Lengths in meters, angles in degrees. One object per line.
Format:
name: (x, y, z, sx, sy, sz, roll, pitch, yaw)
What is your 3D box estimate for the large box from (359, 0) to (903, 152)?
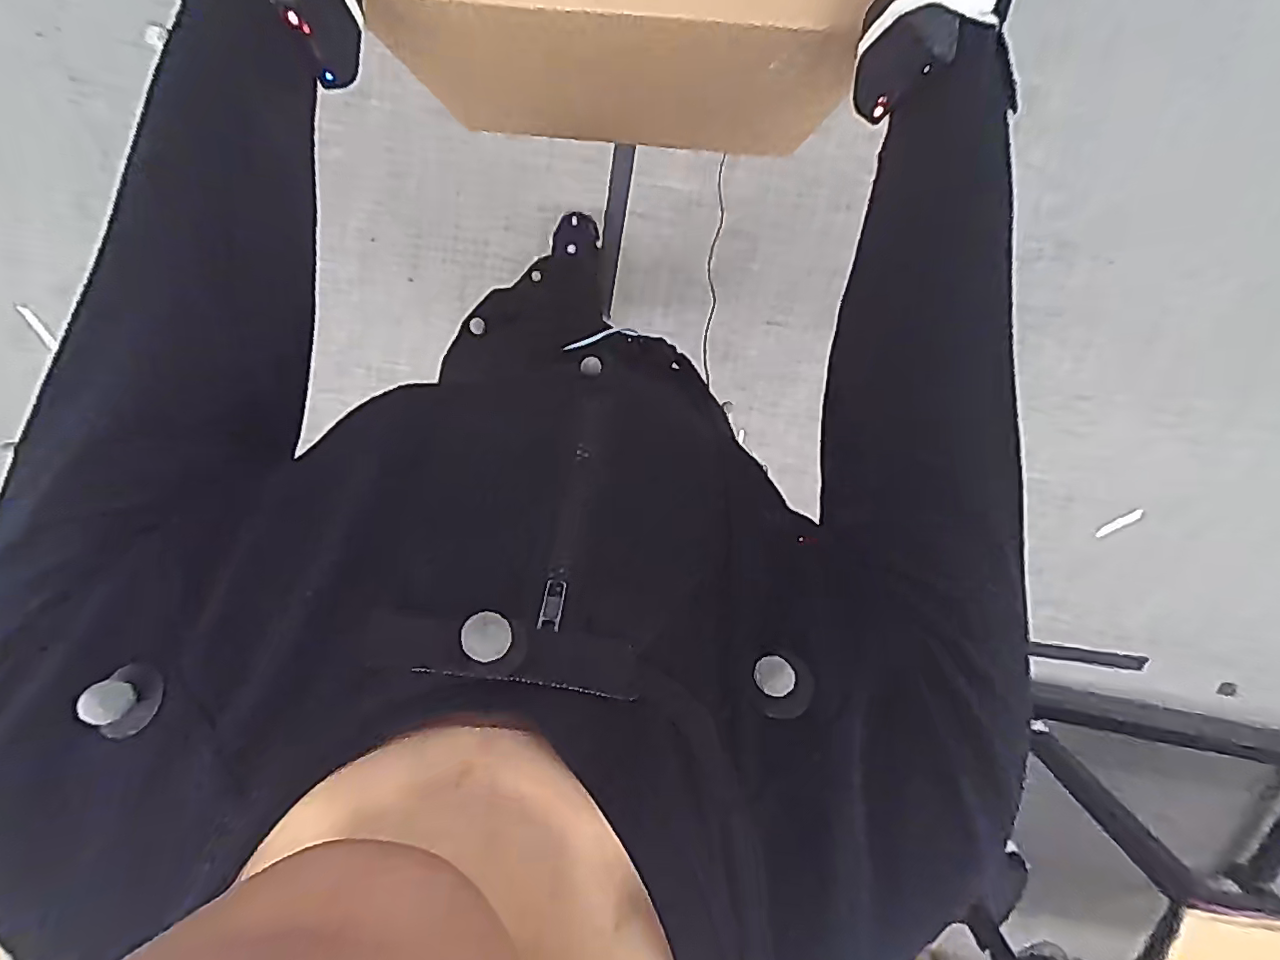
large box: (-0.005, -0.521, 0.488, 0.408, 0.320, 0.320, 3, 107, -1)
